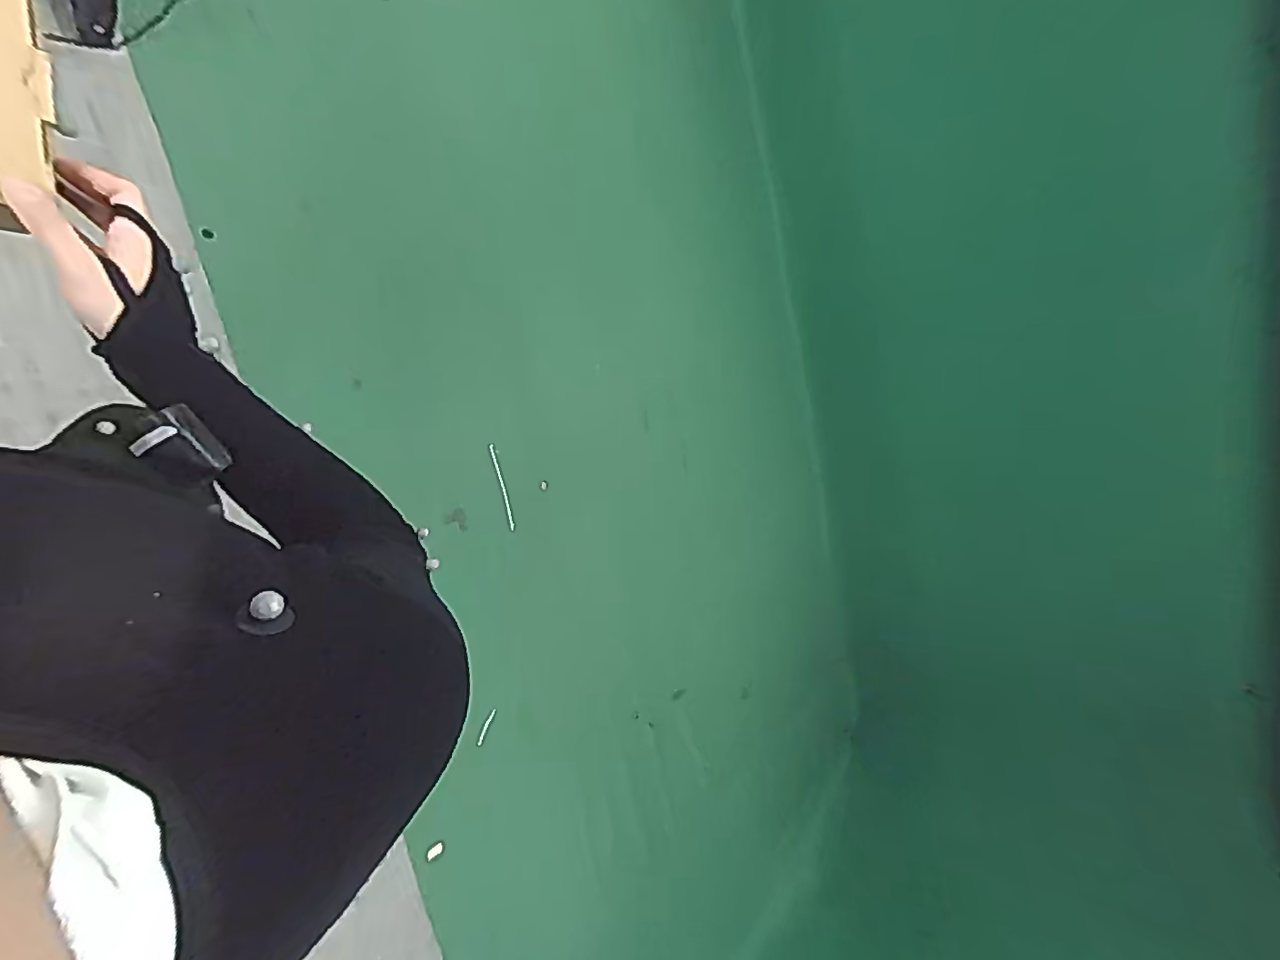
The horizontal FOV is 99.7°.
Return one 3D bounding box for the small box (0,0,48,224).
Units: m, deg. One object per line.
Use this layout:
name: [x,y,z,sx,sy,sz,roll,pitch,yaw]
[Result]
small box: [-0.526,-0.282,0.356,0.179,0.176,0.168,-6,104,-45]
